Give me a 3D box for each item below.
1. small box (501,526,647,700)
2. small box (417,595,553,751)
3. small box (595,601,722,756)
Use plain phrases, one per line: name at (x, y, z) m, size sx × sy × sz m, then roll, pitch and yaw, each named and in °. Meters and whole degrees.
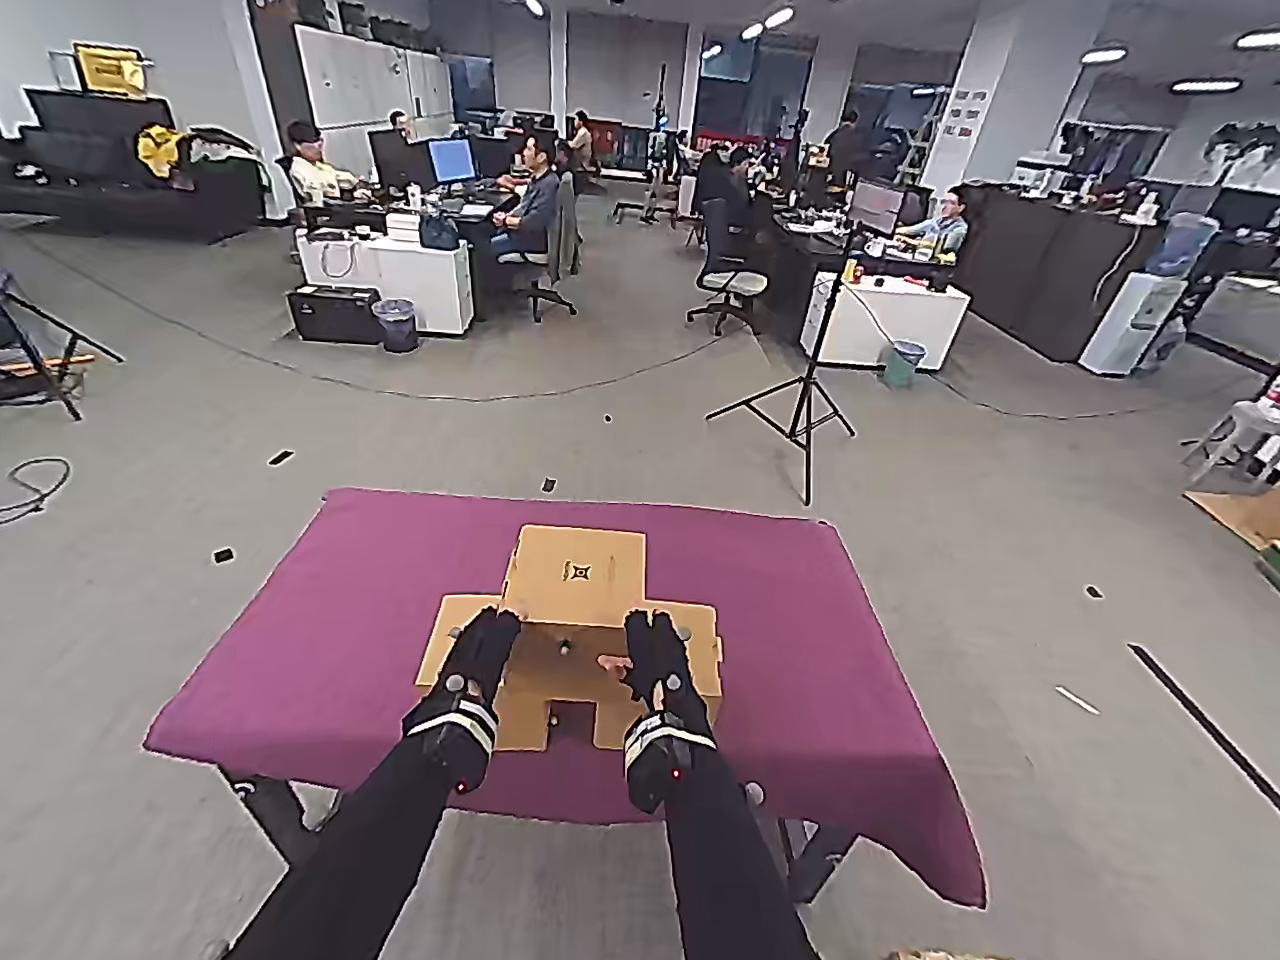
small box at (-0.084, 0.184, 0.747) m, size 0.179 × 0.176 × 0.168 m, roll 5°, pitch 37°, yaw -4°
small box at (-0.223, 0.301, 0.844) m, size 0.179 × 0.176 × 0.168 m, roll 2°, pitch 34°, yaw -4°
small box at (0.027, 0.315, 0.864) m, size 0.179 × 0.176 × 0.168 m, roll 5°, pitch 34°, yaw 0°
